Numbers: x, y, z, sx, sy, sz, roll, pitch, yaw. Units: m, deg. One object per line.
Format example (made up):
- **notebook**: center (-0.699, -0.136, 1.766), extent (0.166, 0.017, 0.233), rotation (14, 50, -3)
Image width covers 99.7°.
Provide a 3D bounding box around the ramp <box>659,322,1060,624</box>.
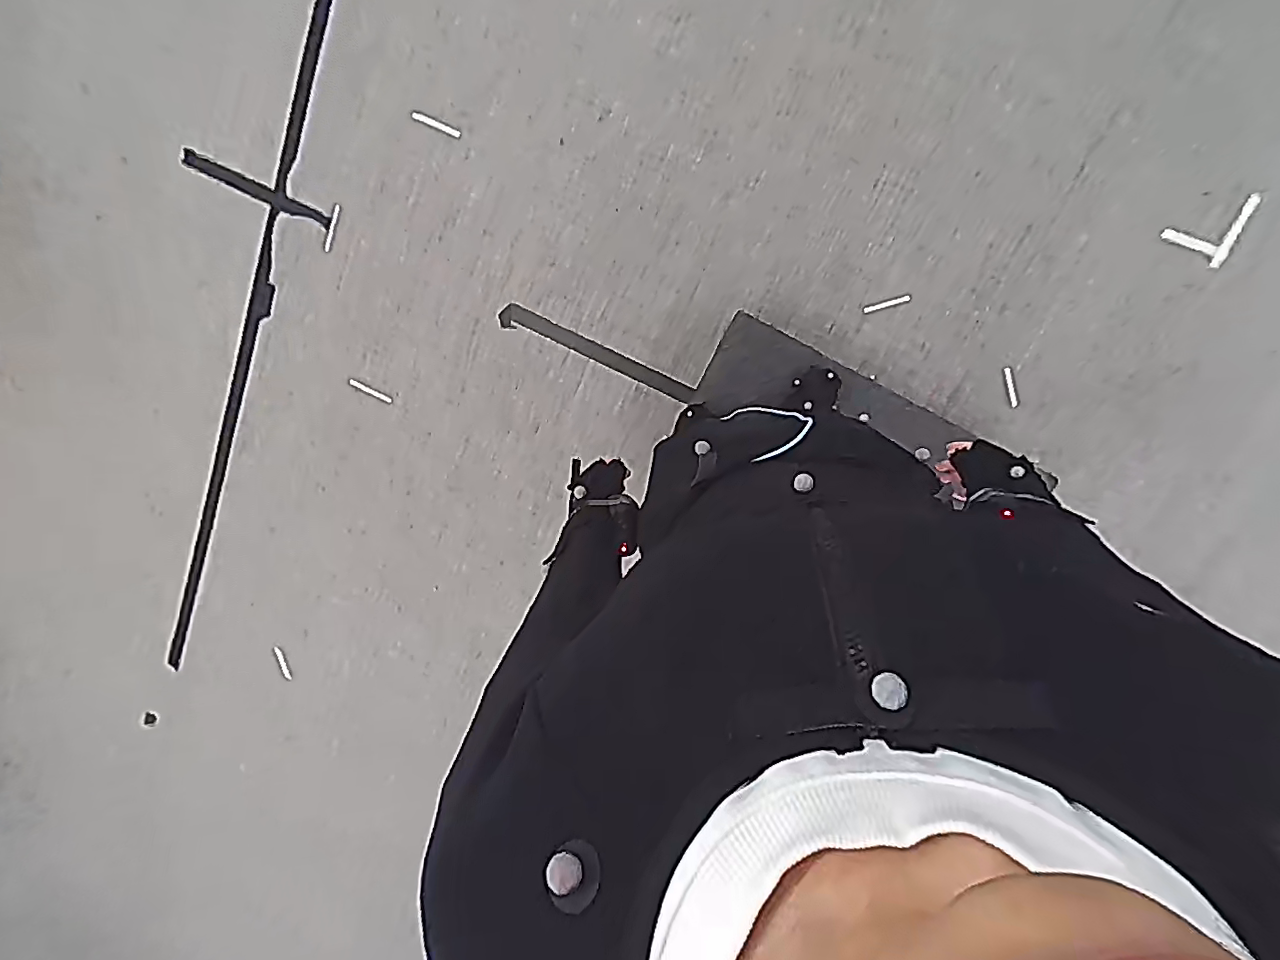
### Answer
- **ramp**: center (0.597, 0.007, 1.465), extent (0.991, 0.206, 0.509), rotation (25, 102, 4)
